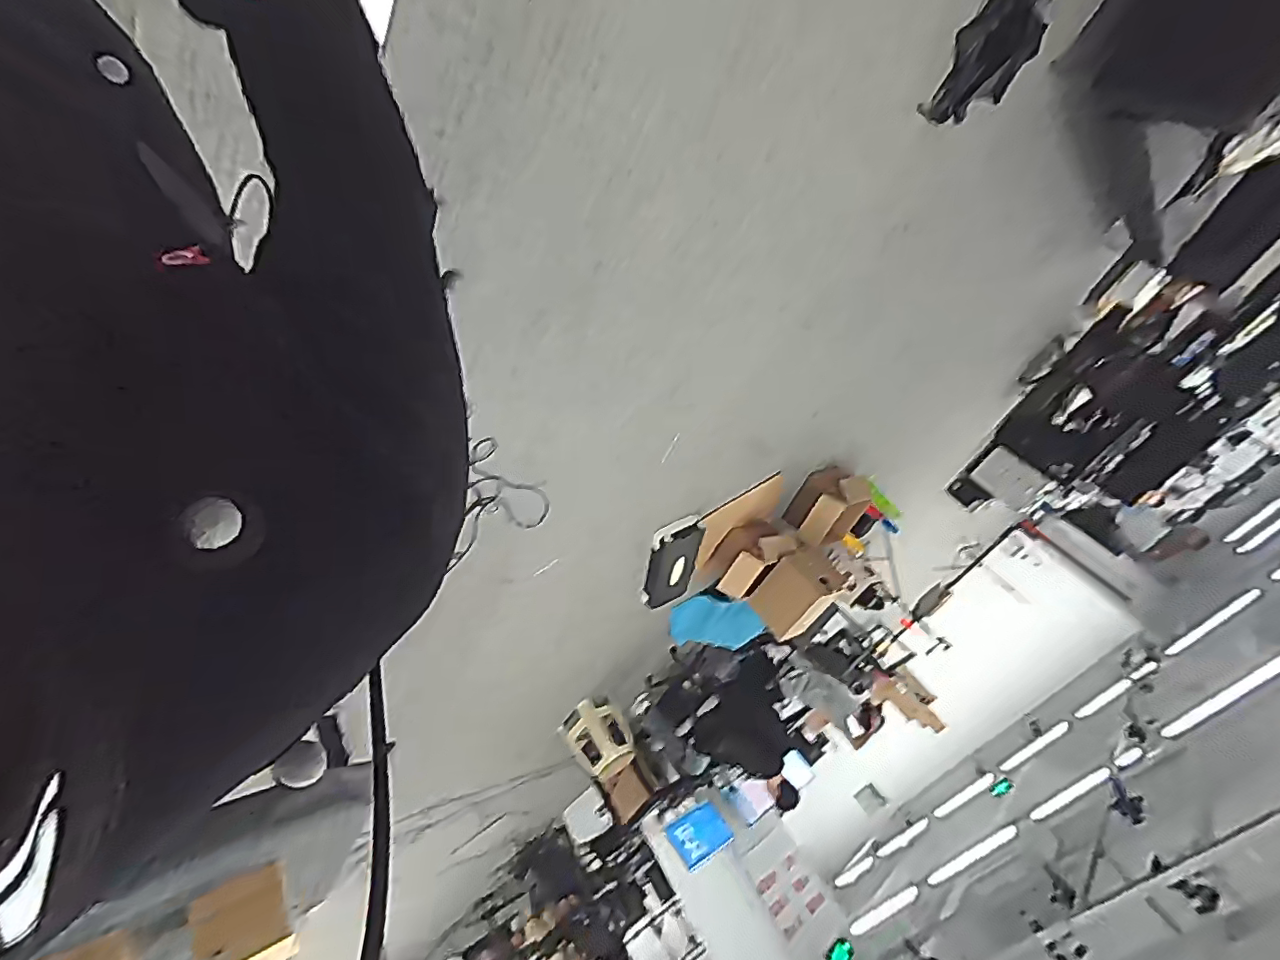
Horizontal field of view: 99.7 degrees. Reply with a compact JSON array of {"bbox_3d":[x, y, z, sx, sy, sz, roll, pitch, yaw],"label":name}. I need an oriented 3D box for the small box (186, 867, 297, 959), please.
[{"bbox_3d":[-0.898,1.025,1.222,0.179,0.176,0.168,-10,137,-37],"label":"small box"}]

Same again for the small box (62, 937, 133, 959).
[{"bbox_3d":[-1.094,1.030,1.034,0.168,0.176,0.179,-8,136,-38],"label":"small box"}]
